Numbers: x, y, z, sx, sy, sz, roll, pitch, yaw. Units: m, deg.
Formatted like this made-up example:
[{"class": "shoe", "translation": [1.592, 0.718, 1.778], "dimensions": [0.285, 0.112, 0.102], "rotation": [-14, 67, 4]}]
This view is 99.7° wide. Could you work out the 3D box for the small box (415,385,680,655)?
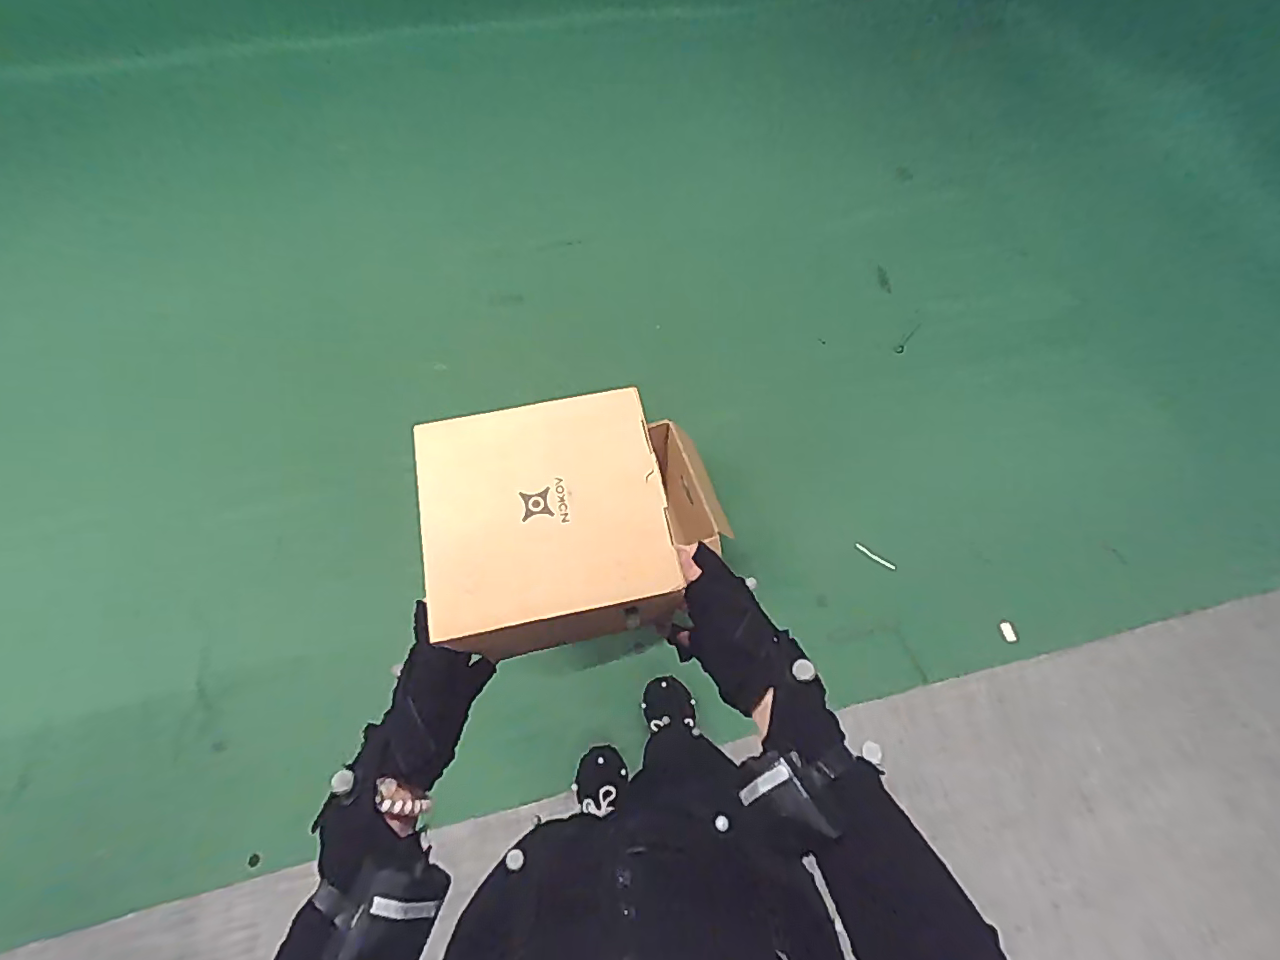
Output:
[{"class": "small box", "translation": [-0.072, 0.045, 0.464], "dimensions": [0.179, 0.176, 0.168], "rotation": [-12, 68, -6]}]
